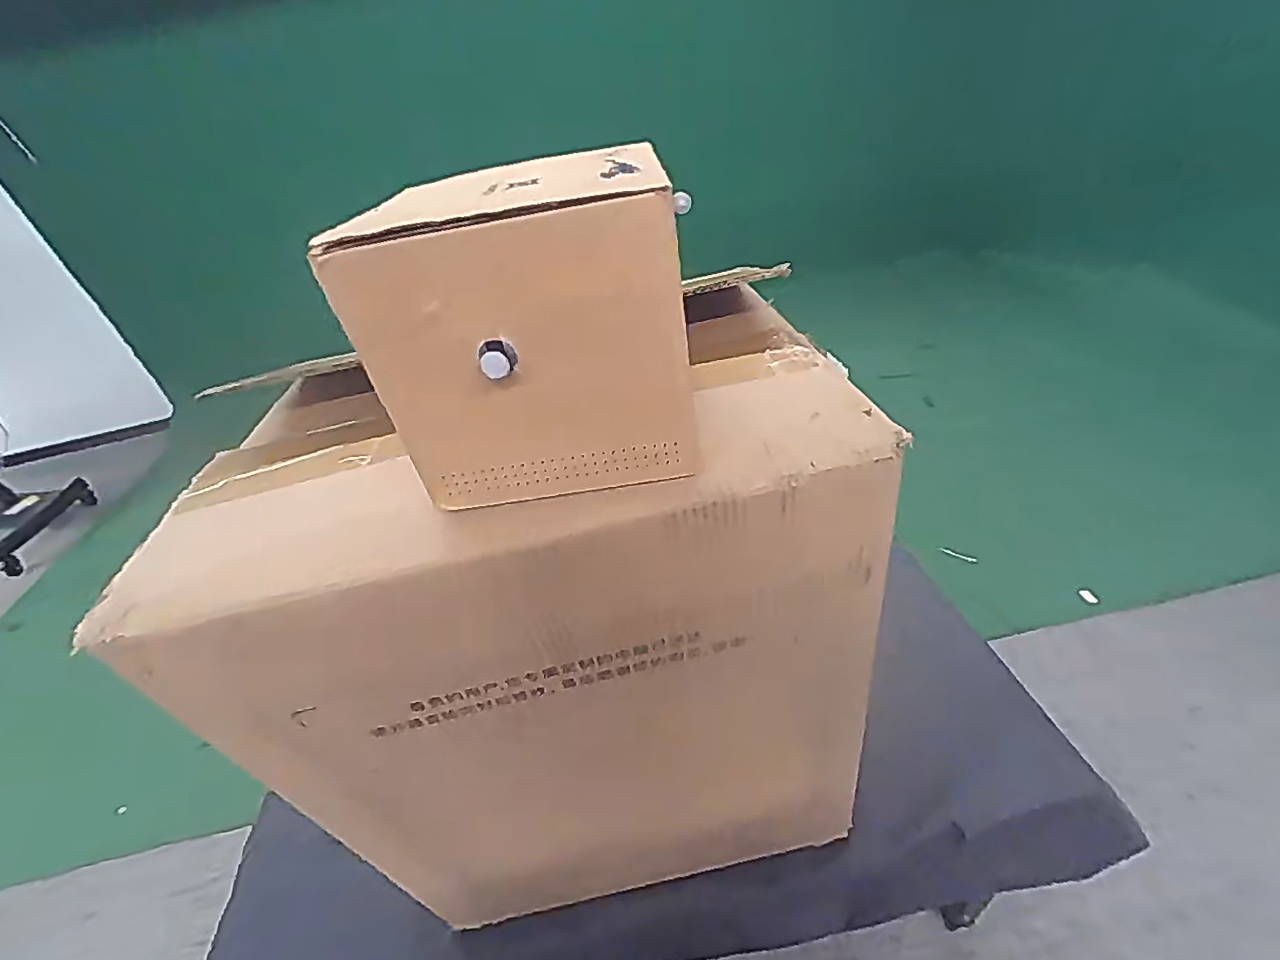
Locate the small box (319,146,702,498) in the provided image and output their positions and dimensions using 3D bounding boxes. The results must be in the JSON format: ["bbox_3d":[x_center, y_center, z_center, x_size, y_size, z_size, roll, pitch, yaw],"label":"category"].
[{"bbox_3d":[-0.061,-0.105,0.365,0.179,0.176,0.168,-9,38,4],"label":"small box"}]
